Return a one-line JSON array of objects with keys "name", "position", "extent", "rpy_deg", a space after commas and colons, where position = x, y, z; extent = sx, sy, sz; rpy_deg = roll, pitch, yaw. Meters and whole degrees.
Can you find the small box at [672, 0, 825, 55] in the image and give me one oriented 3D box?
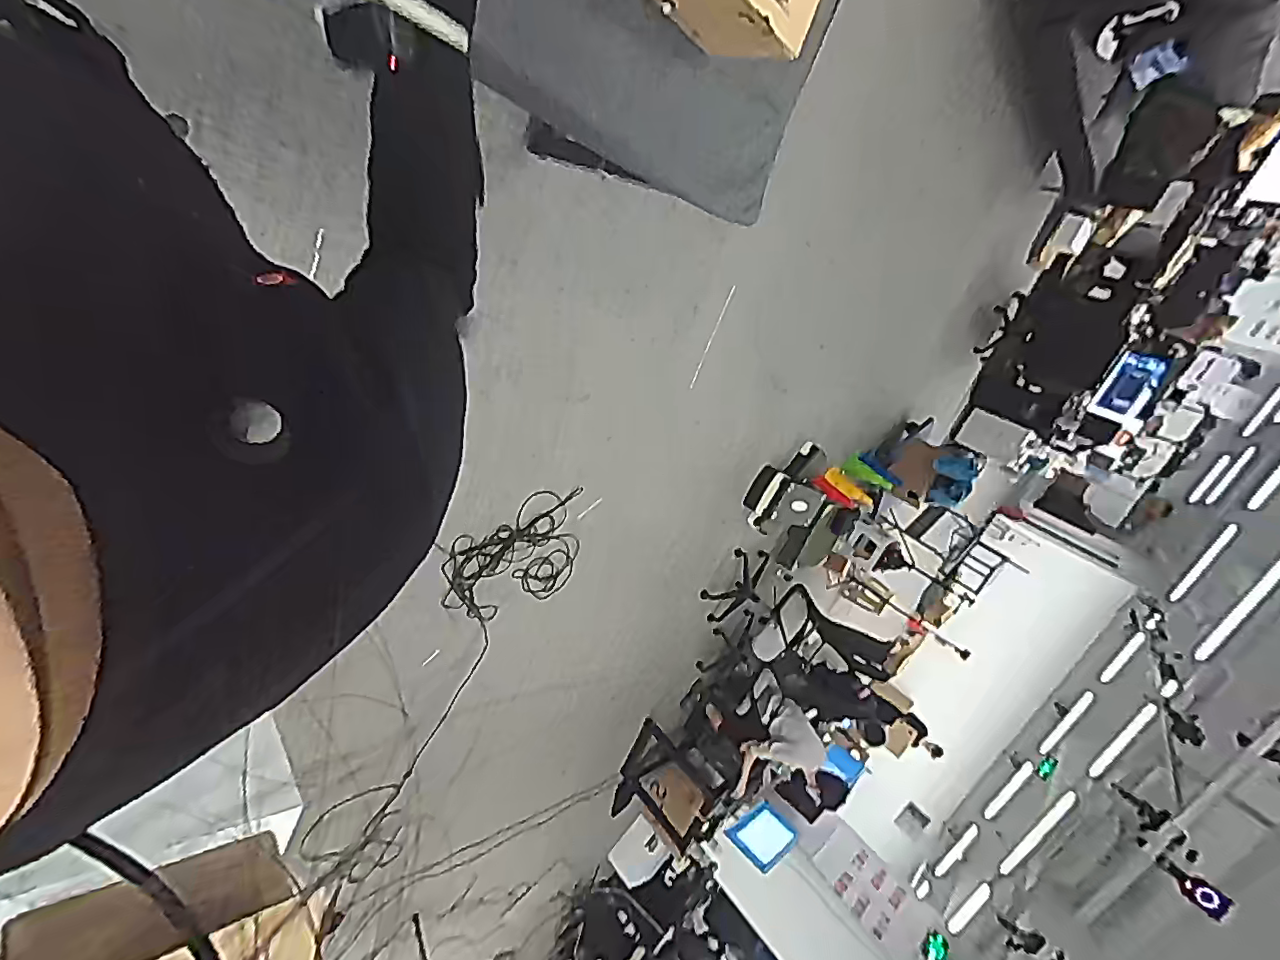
[{"name": "small box", "position": [0.147, -0.700, 0.707], "extent": [0.168, 0.176, 0.179], "rpy_deg": [0, 119, -48]}]
